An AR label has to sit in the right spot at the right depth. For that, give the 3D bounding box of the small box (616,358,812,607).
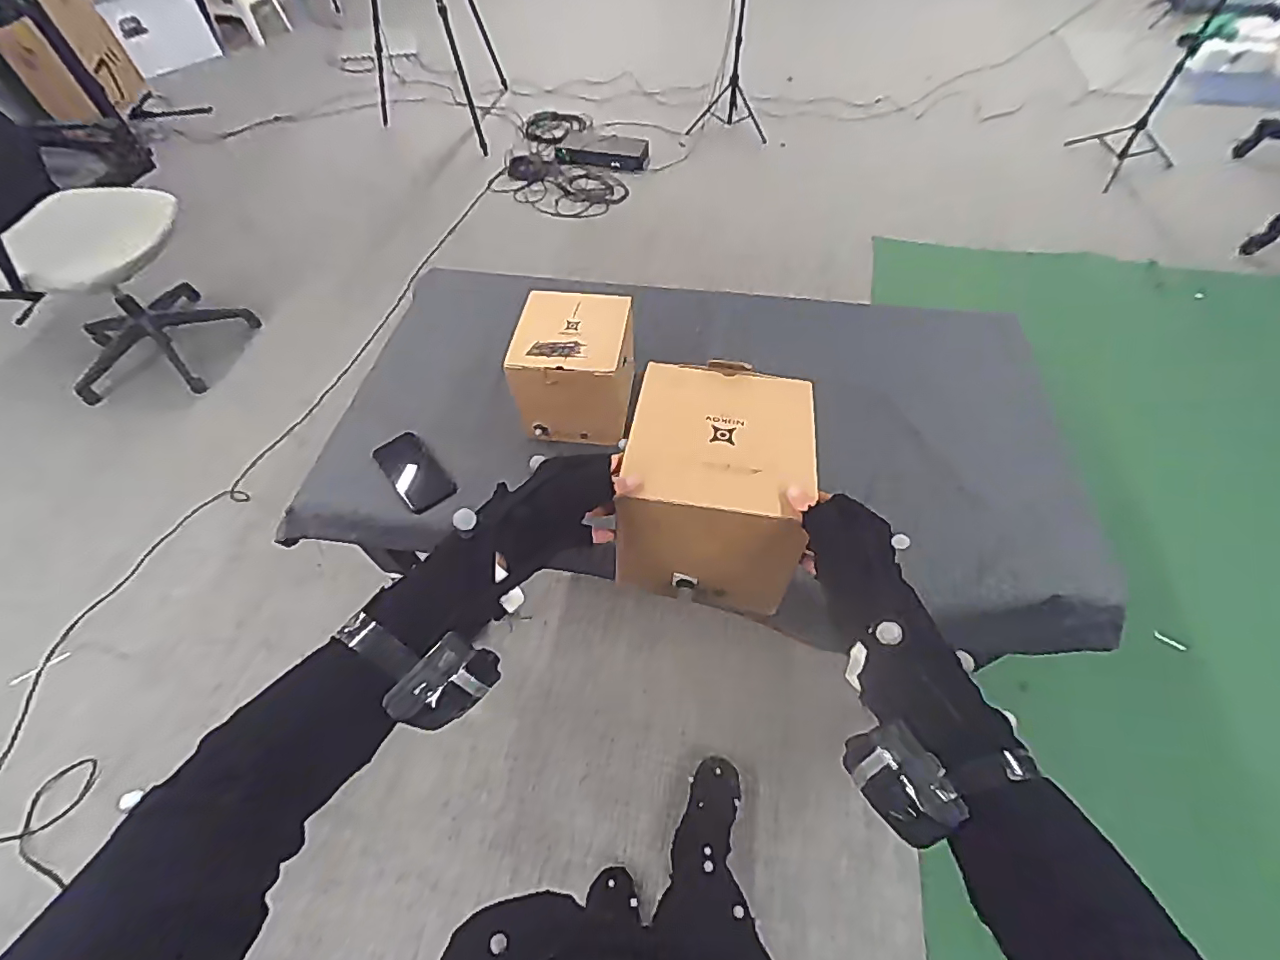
[{"bbox_3d":[0.070,0.004,0.555,0.168,0.176,0.179,9,52,5],"label":"small box"}]

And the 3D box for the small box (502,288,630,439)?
[{"bbox_3d":[-0.108,-0.185,0.883,0.168,0.176,0.179,6,55,4],"label":"small box"}]
